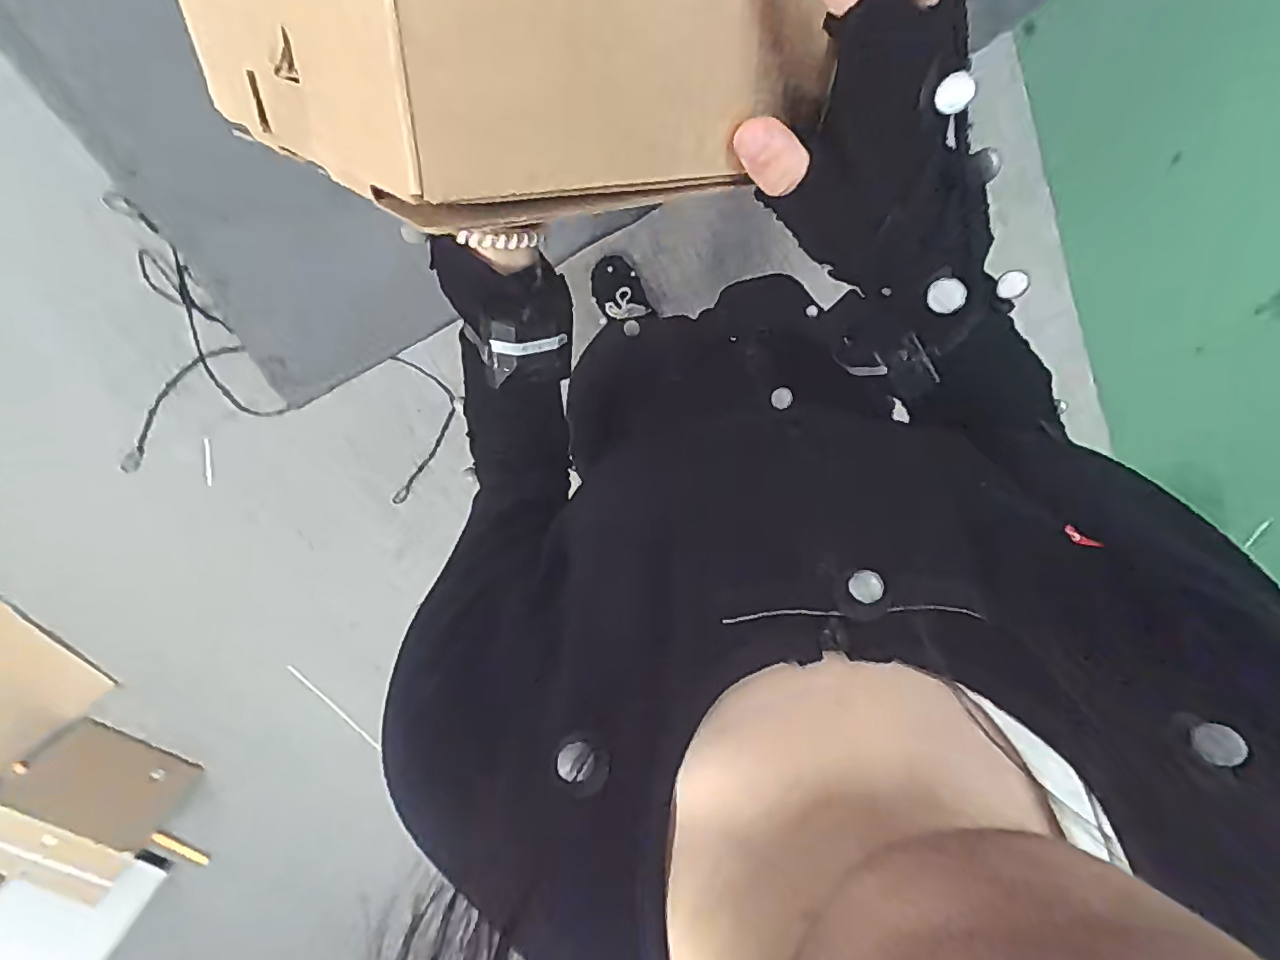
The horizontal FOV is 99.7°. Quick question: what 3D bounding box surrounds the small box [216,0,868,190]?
[{"bbox_3d":[-0.032,-0.203,0.166,0.179,0.168,0.176,-29,141,-36],"label":"small box"}]
